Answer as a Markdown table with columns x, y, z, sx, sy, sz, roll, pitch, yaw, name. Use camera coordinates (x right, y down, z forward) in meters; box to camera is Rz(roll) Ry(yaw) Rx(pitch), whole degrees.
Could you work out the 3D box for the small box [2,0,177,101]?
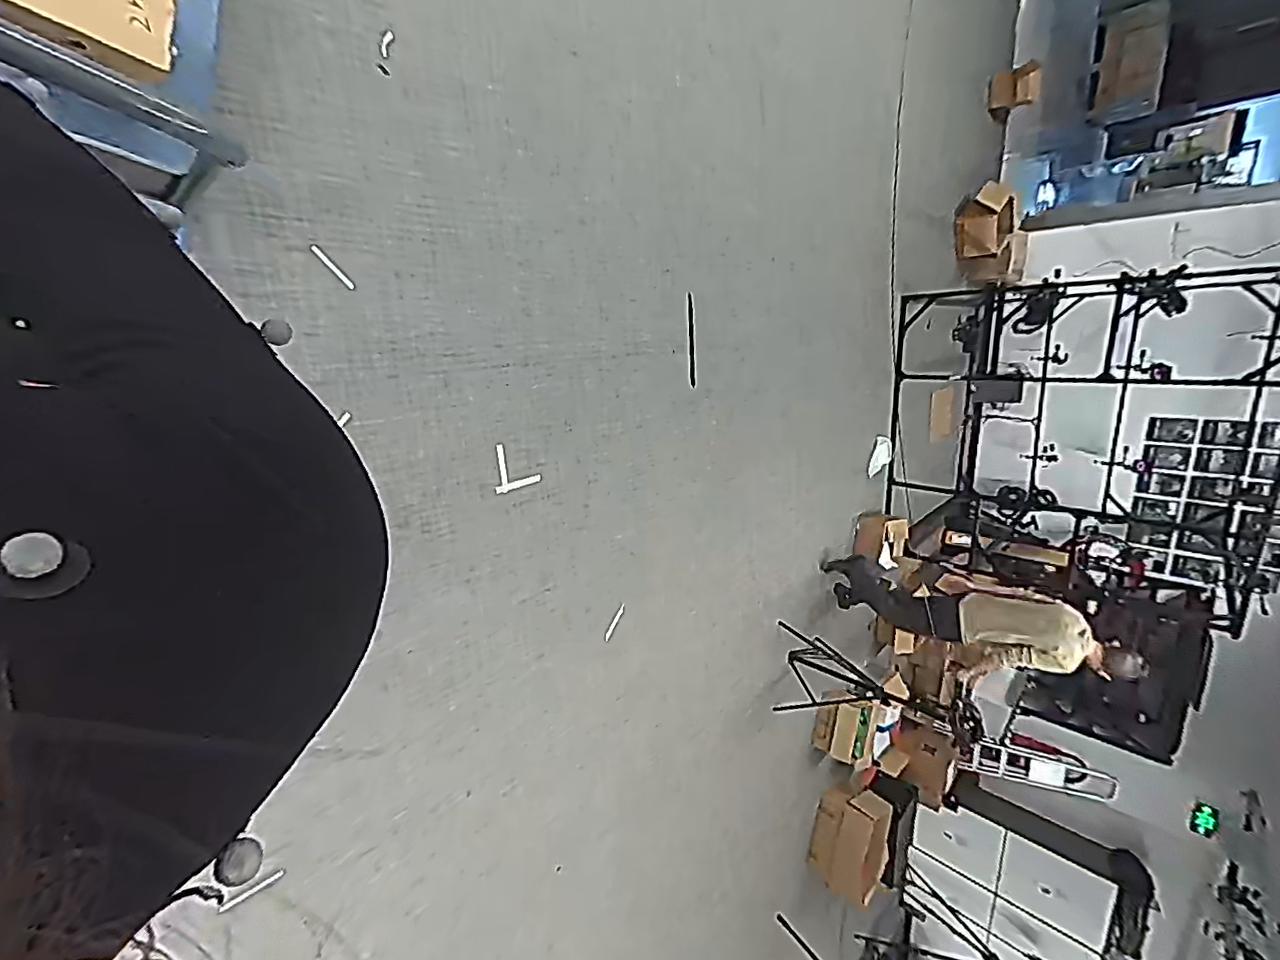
| x | y | z | sx | sy | sz | roll | pitch | yaw | name |
| --- | --- | --- | --- | --- | --- | --- | --- | --- | --- |
| -0.822 | -0.716 | 0.812 | 0.179 | 0.176 | 0.168 | 4 | 96 | -47 | small box |
